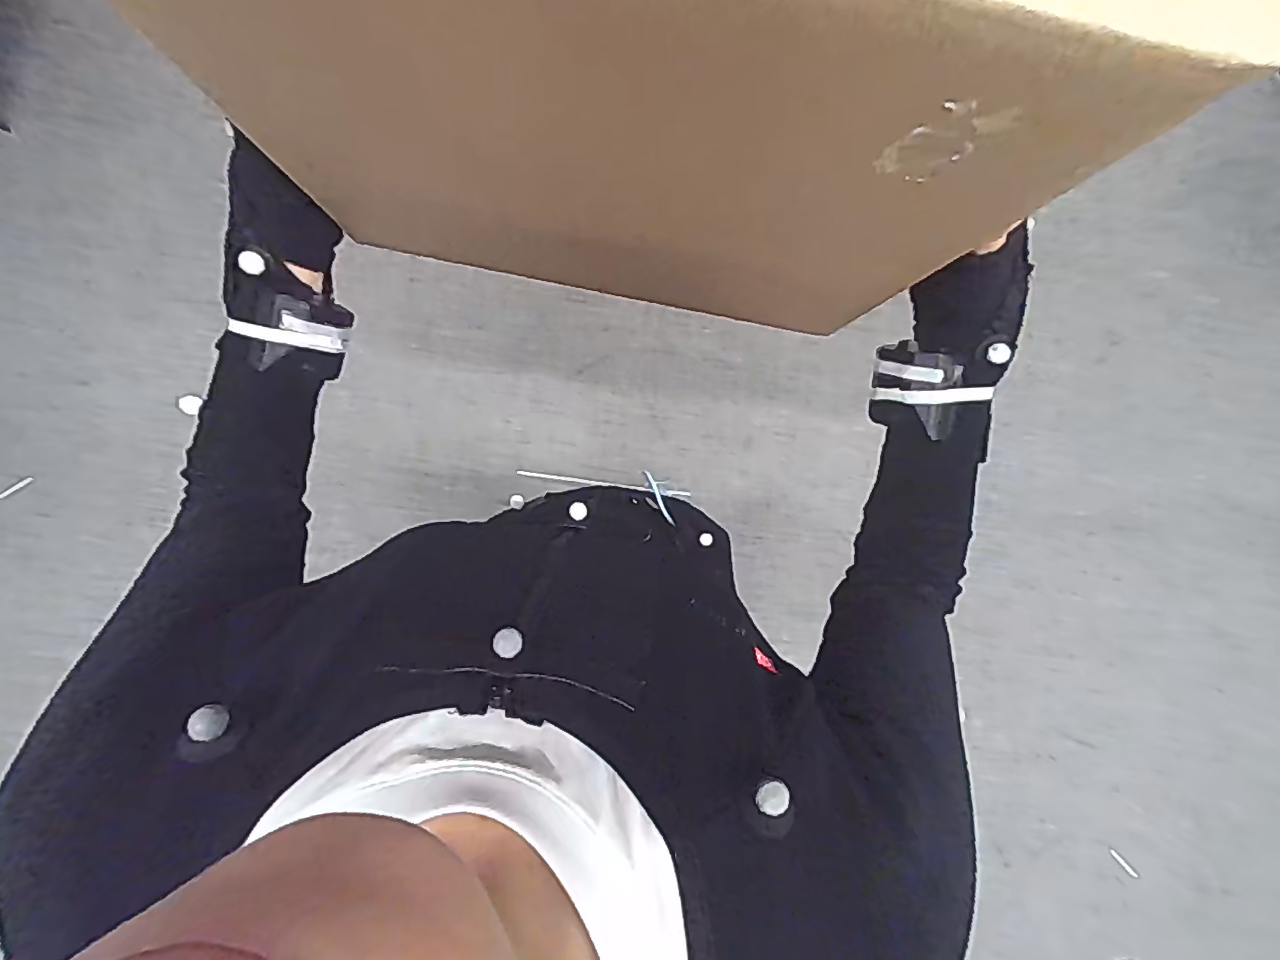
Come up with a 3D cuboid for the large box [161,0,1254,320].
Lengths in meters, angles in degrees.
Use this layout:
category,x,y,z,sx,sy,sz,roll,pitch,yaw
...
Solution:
category,x,y,z,sx,sy,sz,roll,pitch,yaw
large box,0.009,-0.315,0.305,0.408,0.320,0.320,10,91,-6
